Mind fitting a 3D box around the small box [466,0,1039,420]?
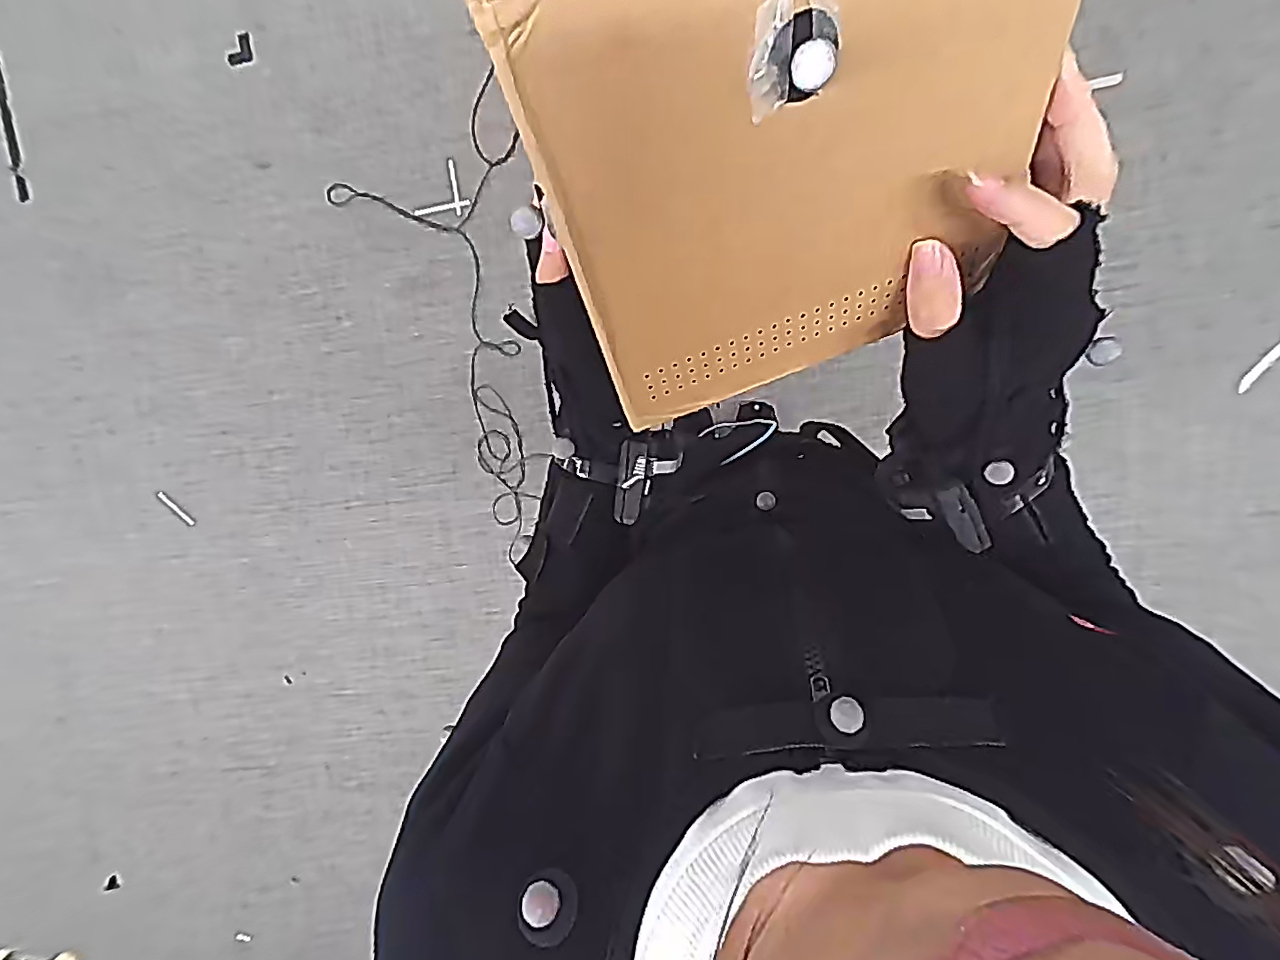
[{"bbox_3d":[0.040,-0.154,0.243,0.179,0.176,0.168,-20,52,2],"label":"small box"}]
